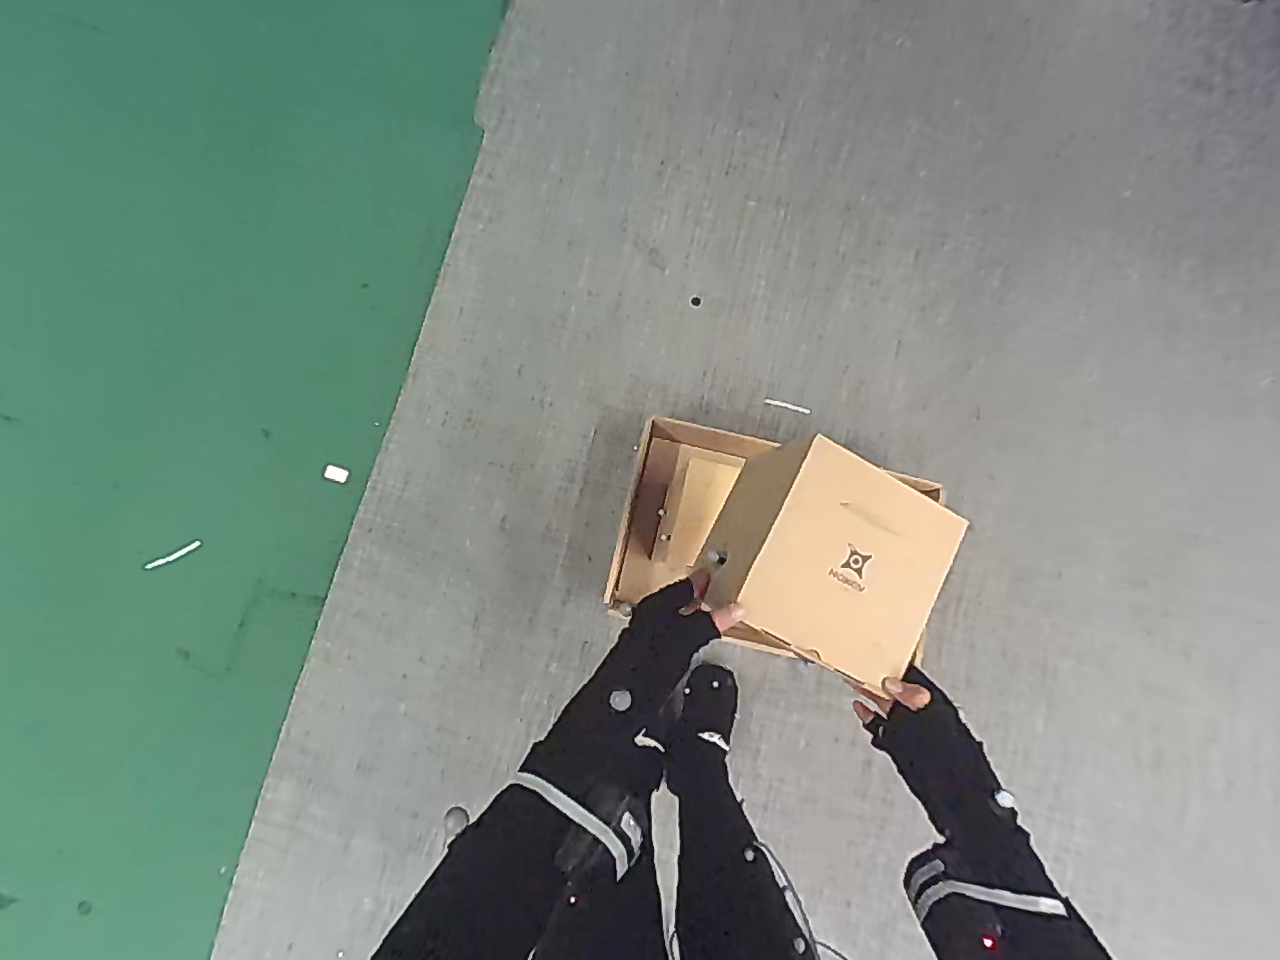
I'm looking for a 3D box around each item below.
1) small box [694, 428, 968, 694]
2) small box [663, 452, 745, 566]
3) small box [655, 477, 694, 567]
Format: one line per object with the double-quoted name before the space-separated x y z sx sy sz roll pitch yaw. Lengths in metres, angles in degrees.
"small box" 0.170 0.074 0.539 0.168 0.176 0.179 29 82 -7
"small box" 0.140 0.067 0.928 0.168 0.176 0.179 13 82 -2
"small box" 0.131 0.089 1.089 0.168 0.176 0.179 14 82 -1
